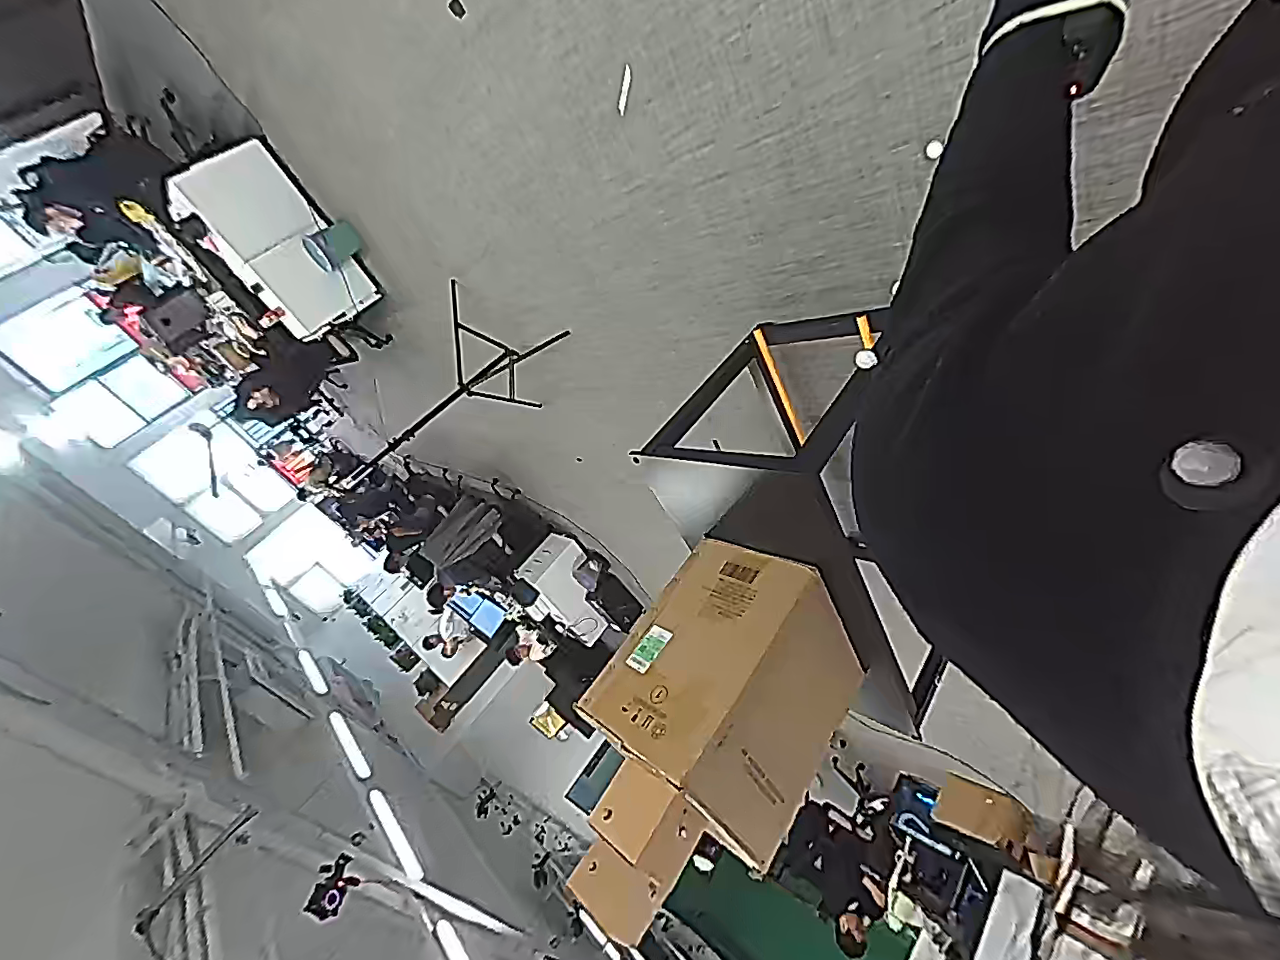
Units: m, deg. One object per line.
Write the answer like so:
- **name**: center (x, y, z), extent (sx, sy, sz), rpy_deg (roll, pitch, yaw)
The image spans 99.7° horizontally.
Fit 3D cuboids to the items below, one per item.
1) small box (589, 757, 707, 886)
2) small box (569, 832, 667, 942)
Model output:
- **small box**: center (0.022, 0.780, 1.257), extent (0.179, 0.176, 0.168), rpy_deg (6, 140, 49)
- **small box**: center (-0.050, 1.068, 1.446), extent (0.179, 0.176, 0.168), rpy_deg (12, 143, 47)
